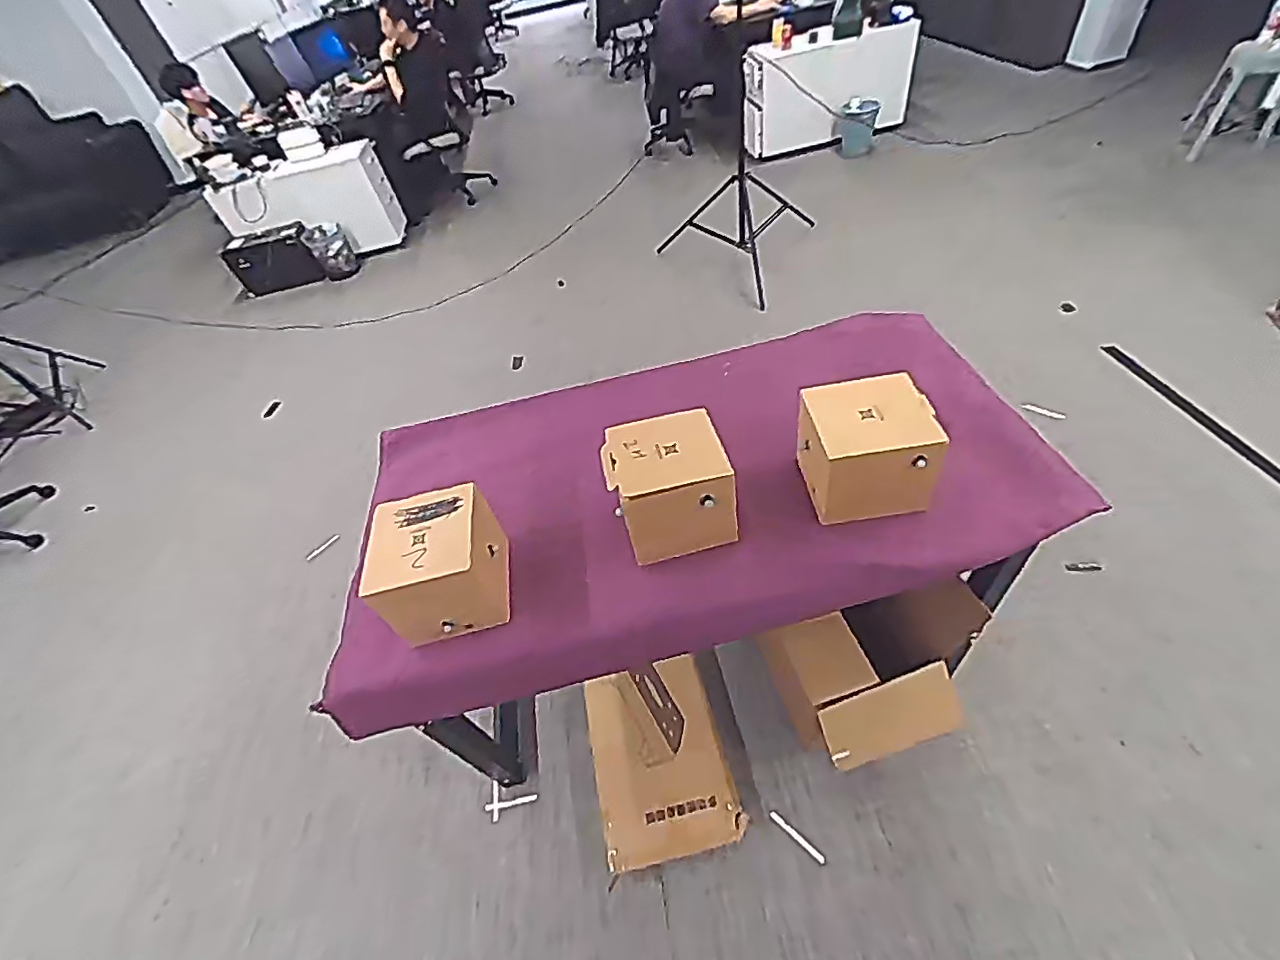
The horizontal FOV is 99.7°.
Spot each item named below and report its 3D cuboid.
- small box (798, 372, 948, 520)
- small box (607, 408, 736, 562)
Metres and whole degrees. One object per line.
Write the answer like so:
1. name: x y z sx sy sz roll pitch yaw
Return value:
1. small box: 0.367 -0.050 0.892 0.179 0.176 0.168 -9 48 4
2. small box: 0.055 0.011 0.903 0.179 0.176 0.168 -15 45 -1
